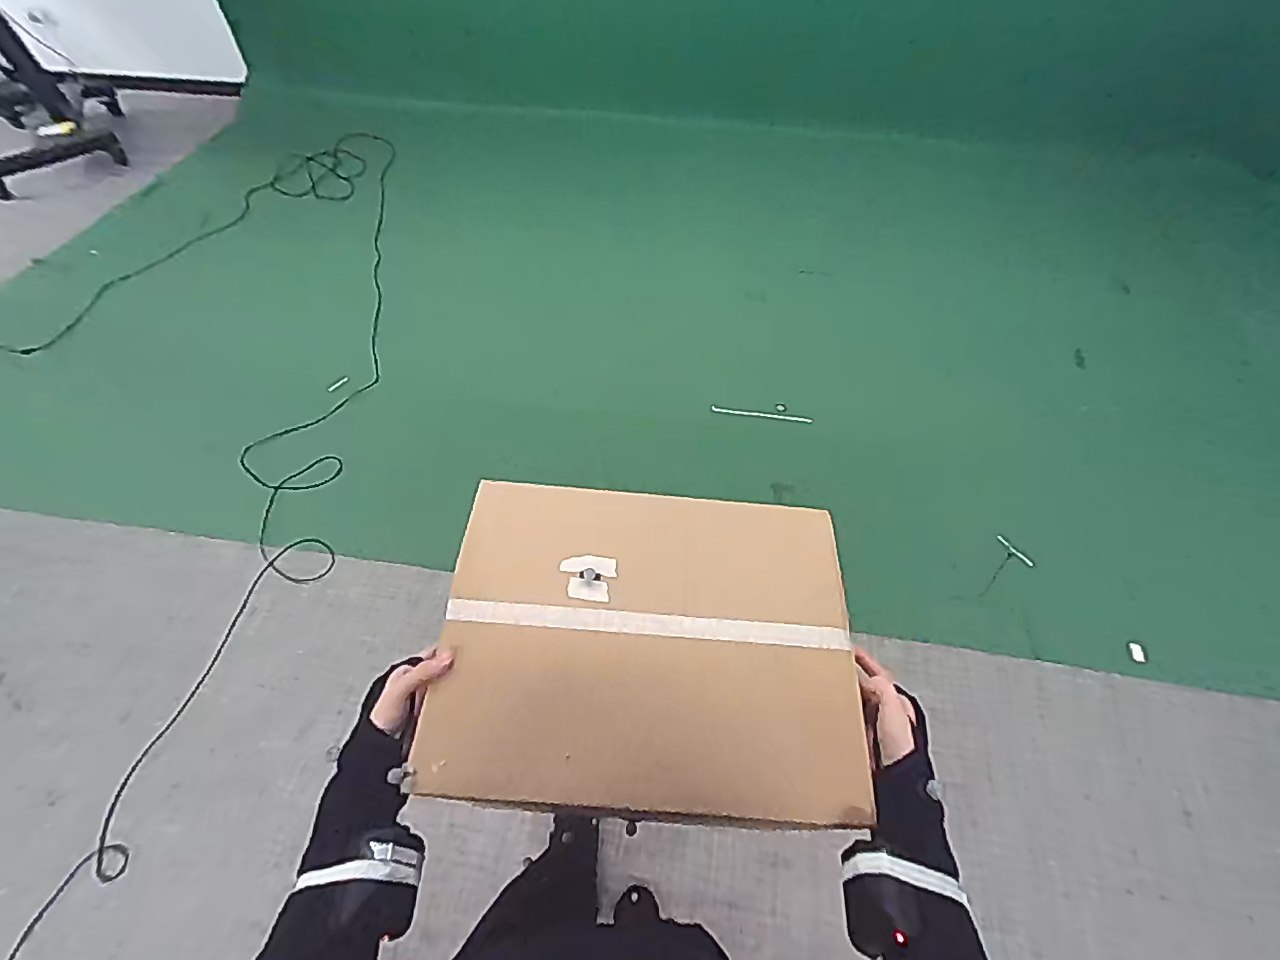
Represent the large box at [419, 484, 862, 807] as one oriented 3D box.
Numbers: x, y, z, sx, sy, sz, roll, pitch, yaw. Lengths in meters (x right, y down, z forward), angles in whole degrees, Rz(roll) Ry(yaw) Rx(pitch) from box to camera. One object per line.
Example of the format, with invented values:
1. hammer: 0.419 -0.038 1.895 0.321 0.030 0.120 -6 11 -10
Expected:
1. large box: 0.005 0.225 0.683 0.408 0.320 0.320 5 56 0
